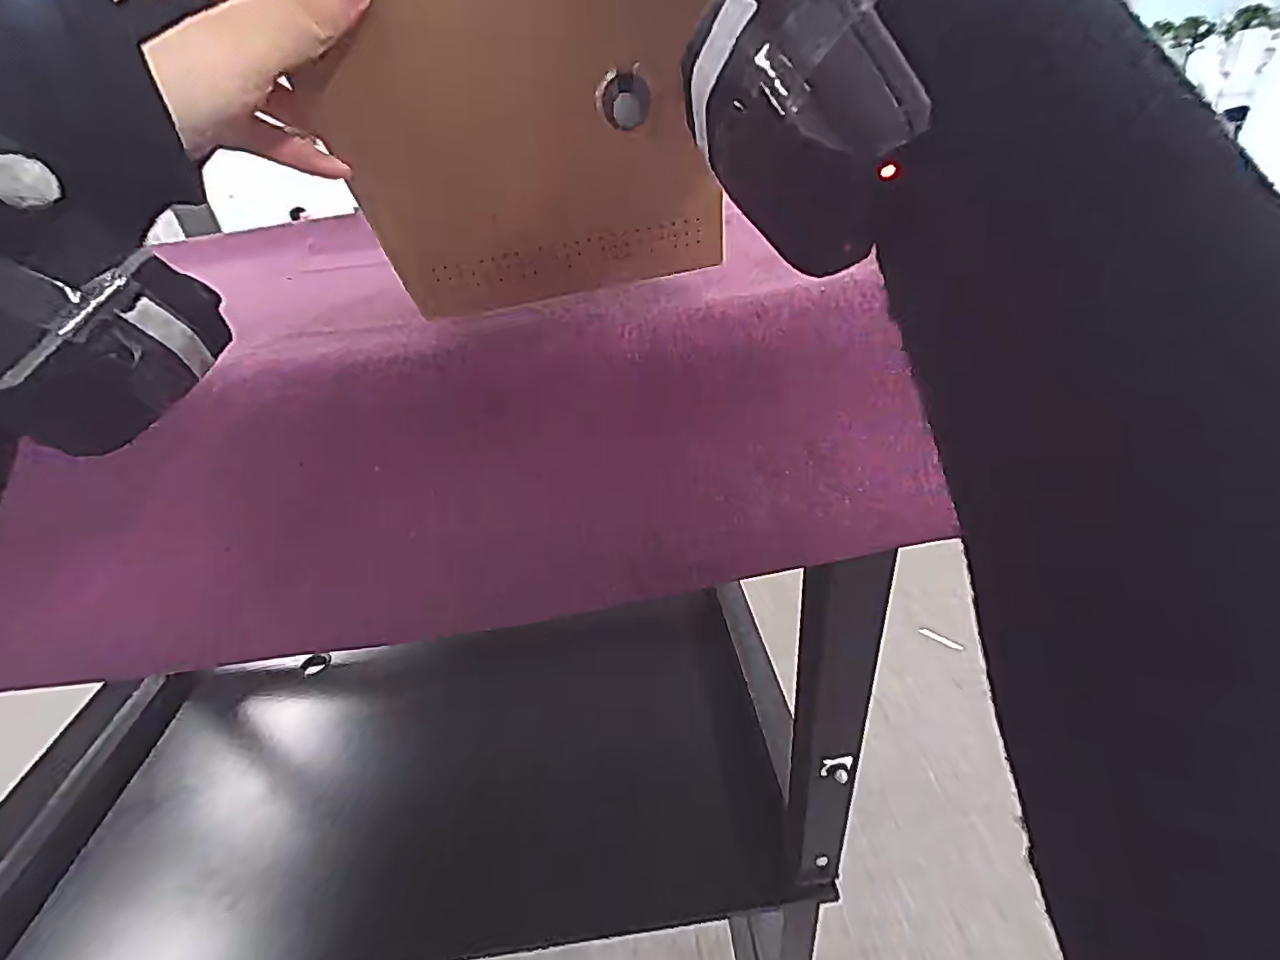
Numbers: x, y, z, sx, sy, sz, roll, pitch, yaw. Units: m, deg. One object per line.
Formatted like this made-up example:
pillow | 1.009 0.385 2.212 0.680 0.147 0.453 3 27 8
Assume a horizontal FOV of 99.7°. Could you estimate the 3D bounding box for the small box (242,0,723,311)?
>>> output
small box | -0.056 -0.213 0.276 0.179 0.176 0.168 -10 53 2
